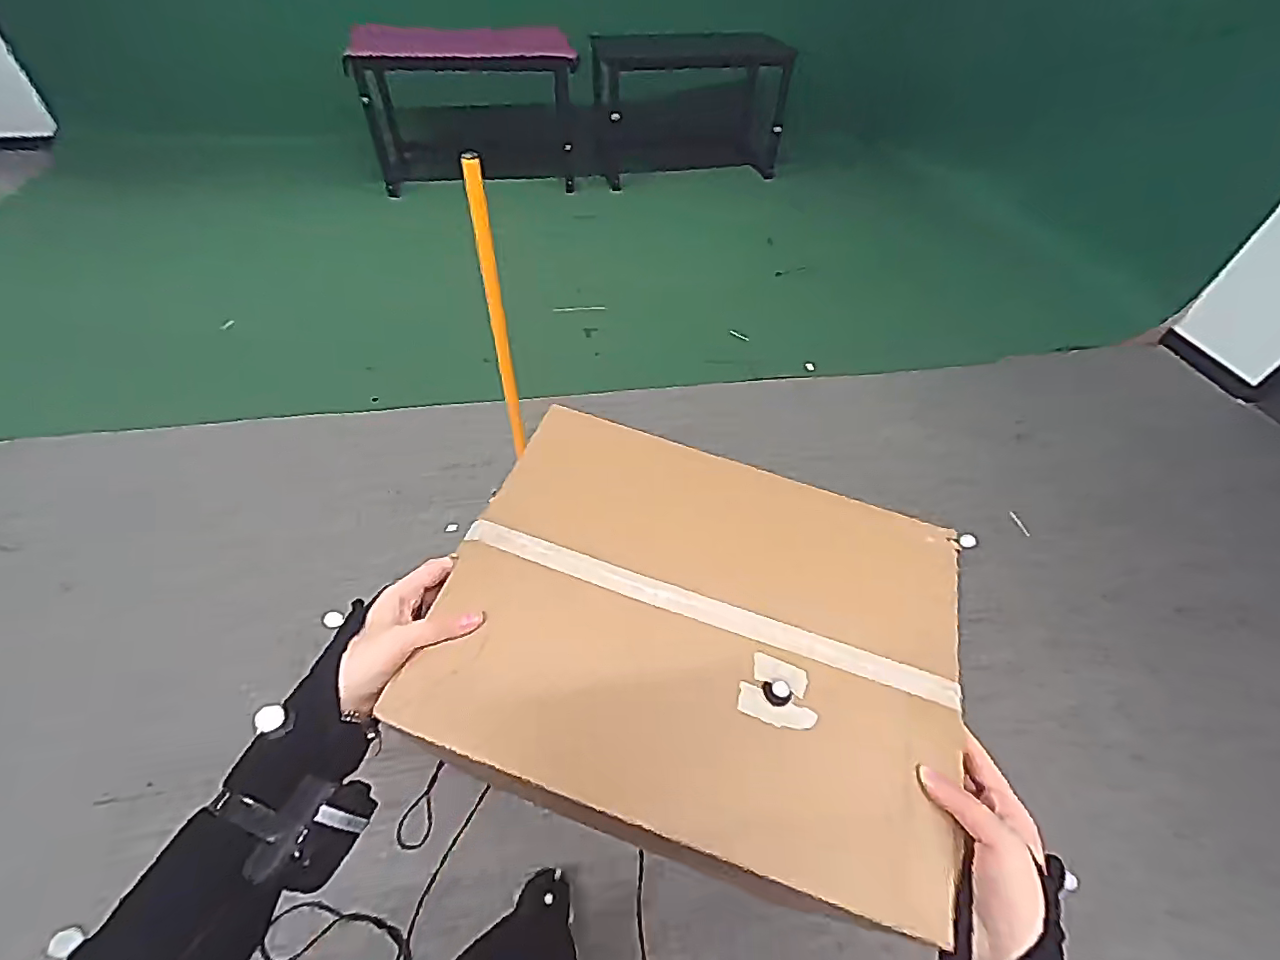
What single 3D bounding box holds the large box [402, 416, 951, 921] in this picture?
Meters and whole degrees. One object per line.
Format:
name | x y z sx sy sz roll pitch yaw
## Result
large box | 0.042 0.193 0.573 0.408 0.320 0.320 19 56 6
